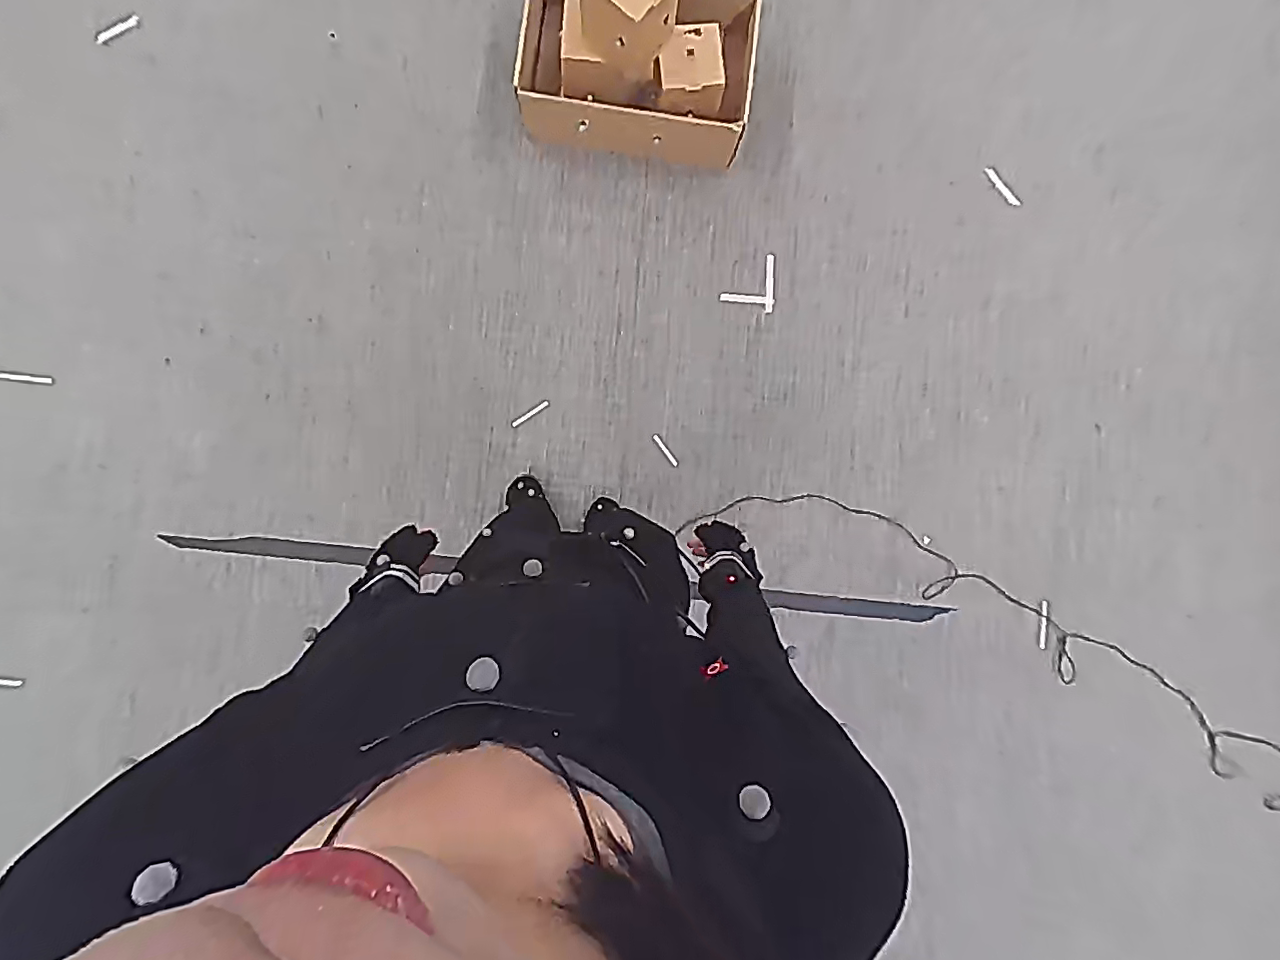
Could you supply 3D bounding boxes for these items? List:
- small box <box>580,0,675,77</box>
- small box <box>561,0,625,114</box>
[{"bbox_3d":[-0.025,-1.128,1.303,0.179,0.176,0.168,39,83,1],"label":"small box"},{"bbox_3d":[-0.120,-1.140,1.460,0.168,0.176,0.179,4,86,-5],"label":"small box"}]
